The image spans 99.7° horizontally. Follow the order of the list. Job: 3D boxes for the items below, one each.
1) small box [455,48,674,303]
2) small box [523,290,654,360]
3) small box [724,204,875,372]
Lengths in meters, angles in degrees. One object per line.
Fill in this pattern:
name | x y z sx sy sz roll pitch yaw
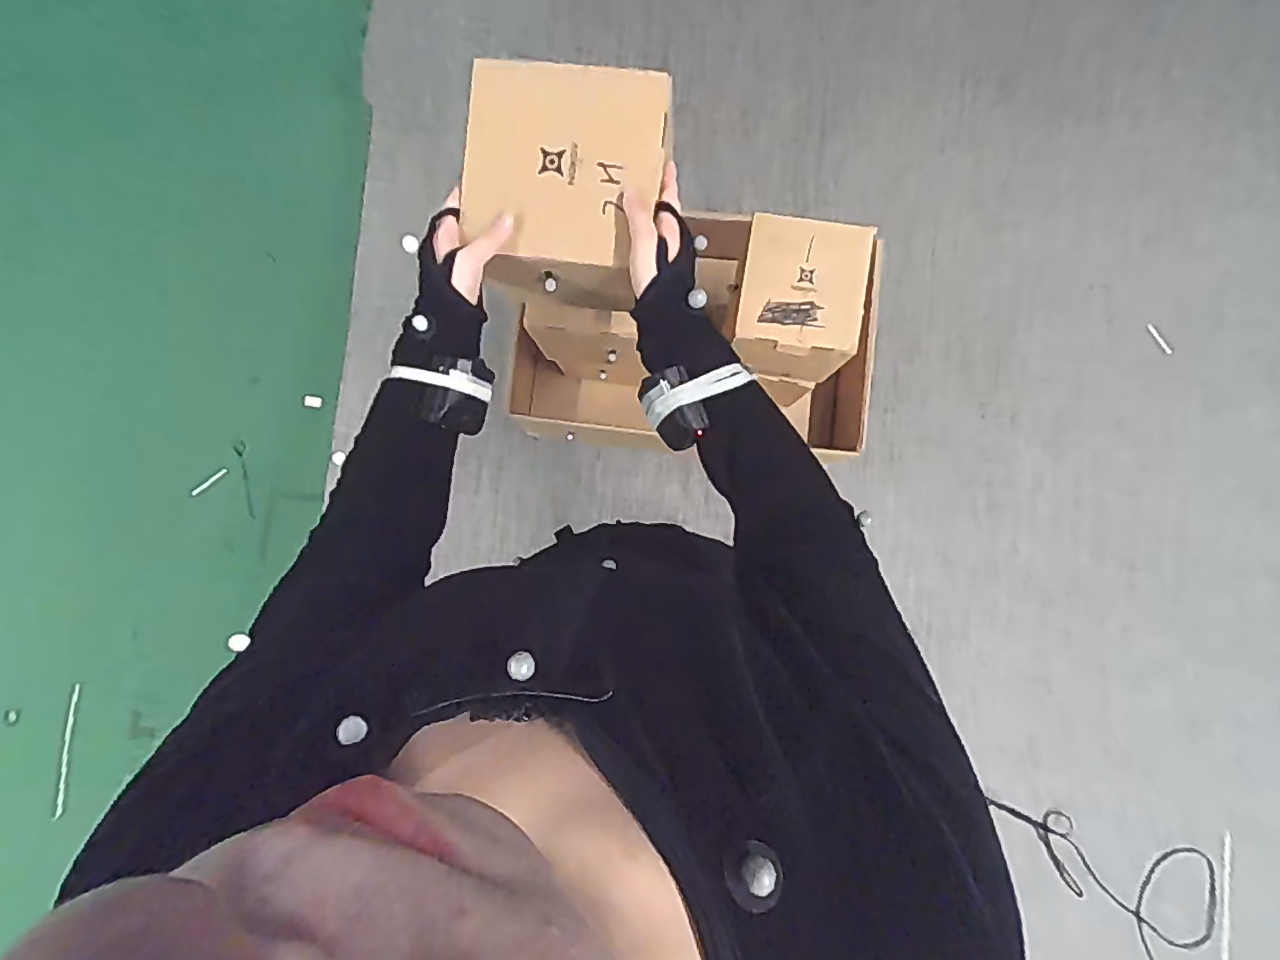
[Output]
small box | -0.063 -0.287 0.548 0.179 0.176 0.168 8 95 3
small box | -0.064 -0.291 0.813 0.168 0.176 0.179 7 87 2
small box | 0.222 -0.270 0.798 0.168 0.176 0.179 10 87 3
